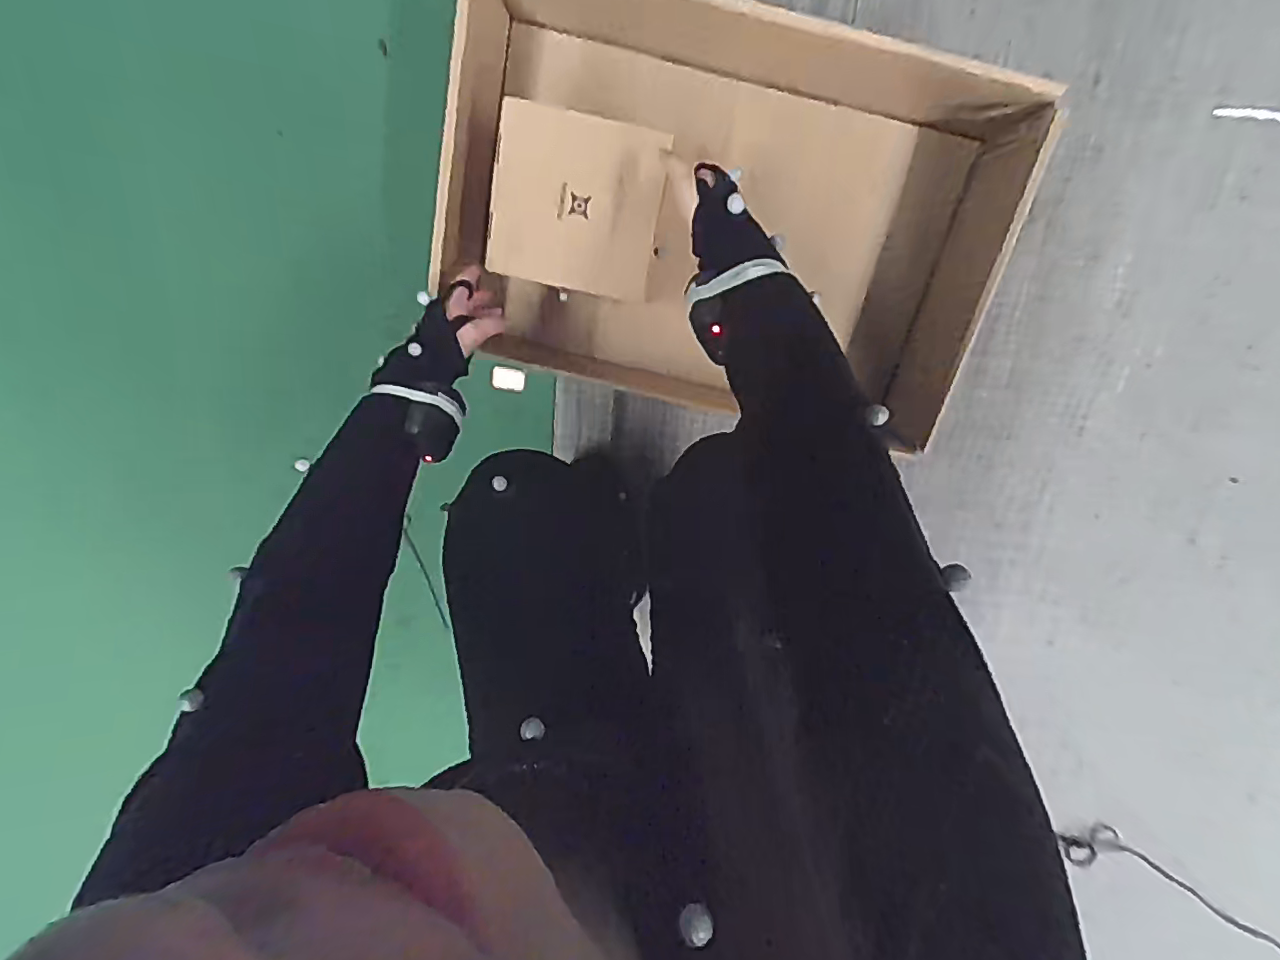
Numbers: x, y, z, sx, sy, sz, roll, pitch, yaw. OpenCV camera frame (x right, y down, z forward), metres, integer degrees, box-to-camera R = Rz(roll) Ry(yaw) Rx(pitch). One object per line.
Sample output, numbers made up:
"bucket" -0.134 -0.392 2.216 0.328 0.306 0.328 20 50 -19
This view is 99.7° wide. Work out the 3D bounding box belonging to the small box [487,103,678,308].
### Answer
"small box" -0.061 -0.304 0.637 0.179 0.176 0.168 12 108 -2
